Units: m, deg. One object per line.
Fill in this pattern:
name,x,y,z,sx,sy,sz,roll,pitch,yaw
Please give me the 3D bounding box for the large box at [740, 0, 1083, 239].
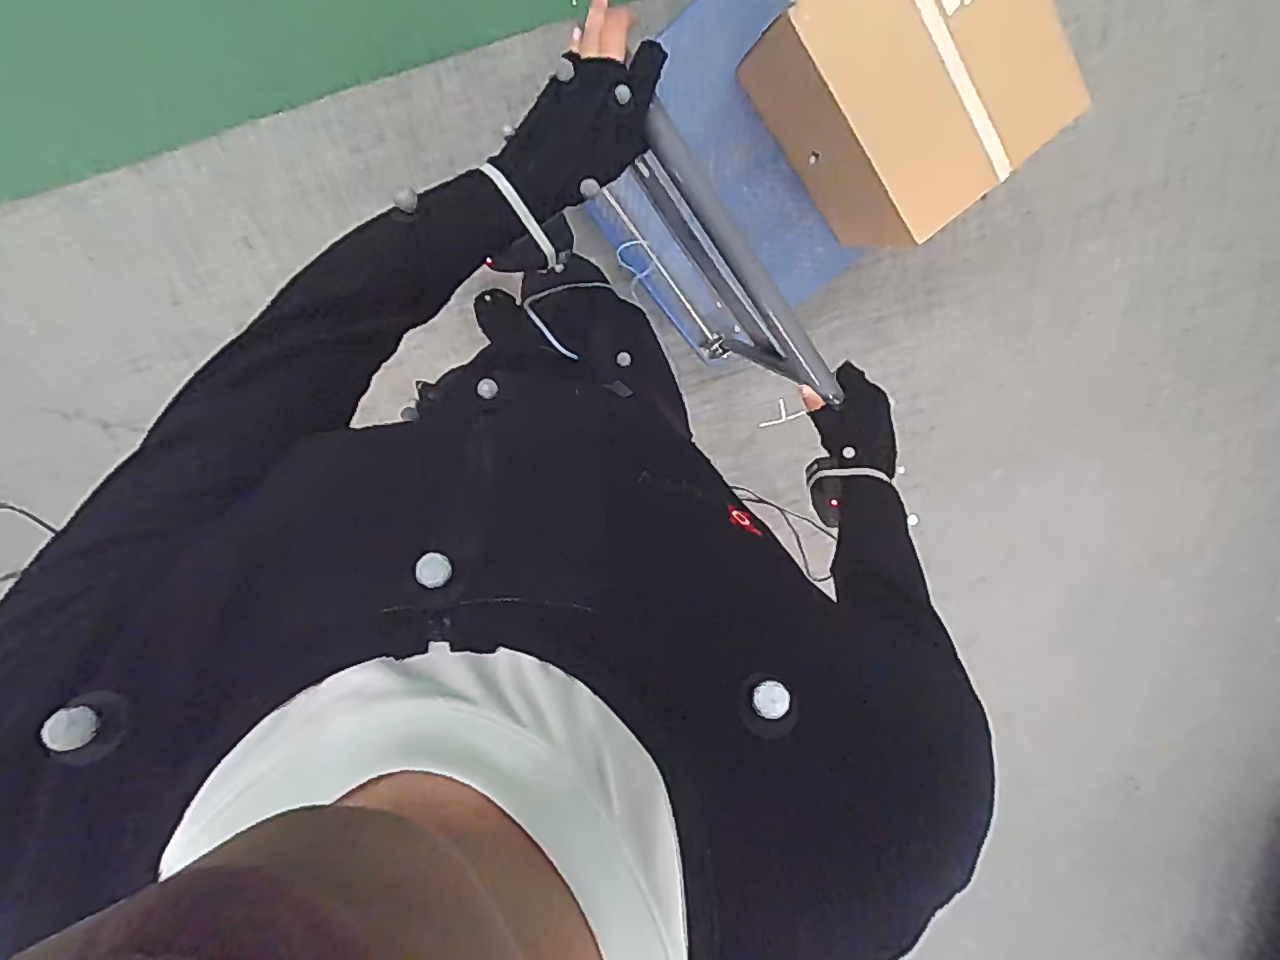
large box,0.438,-0.687,0.939,0.320,0.320,0.408,-39,111,11
